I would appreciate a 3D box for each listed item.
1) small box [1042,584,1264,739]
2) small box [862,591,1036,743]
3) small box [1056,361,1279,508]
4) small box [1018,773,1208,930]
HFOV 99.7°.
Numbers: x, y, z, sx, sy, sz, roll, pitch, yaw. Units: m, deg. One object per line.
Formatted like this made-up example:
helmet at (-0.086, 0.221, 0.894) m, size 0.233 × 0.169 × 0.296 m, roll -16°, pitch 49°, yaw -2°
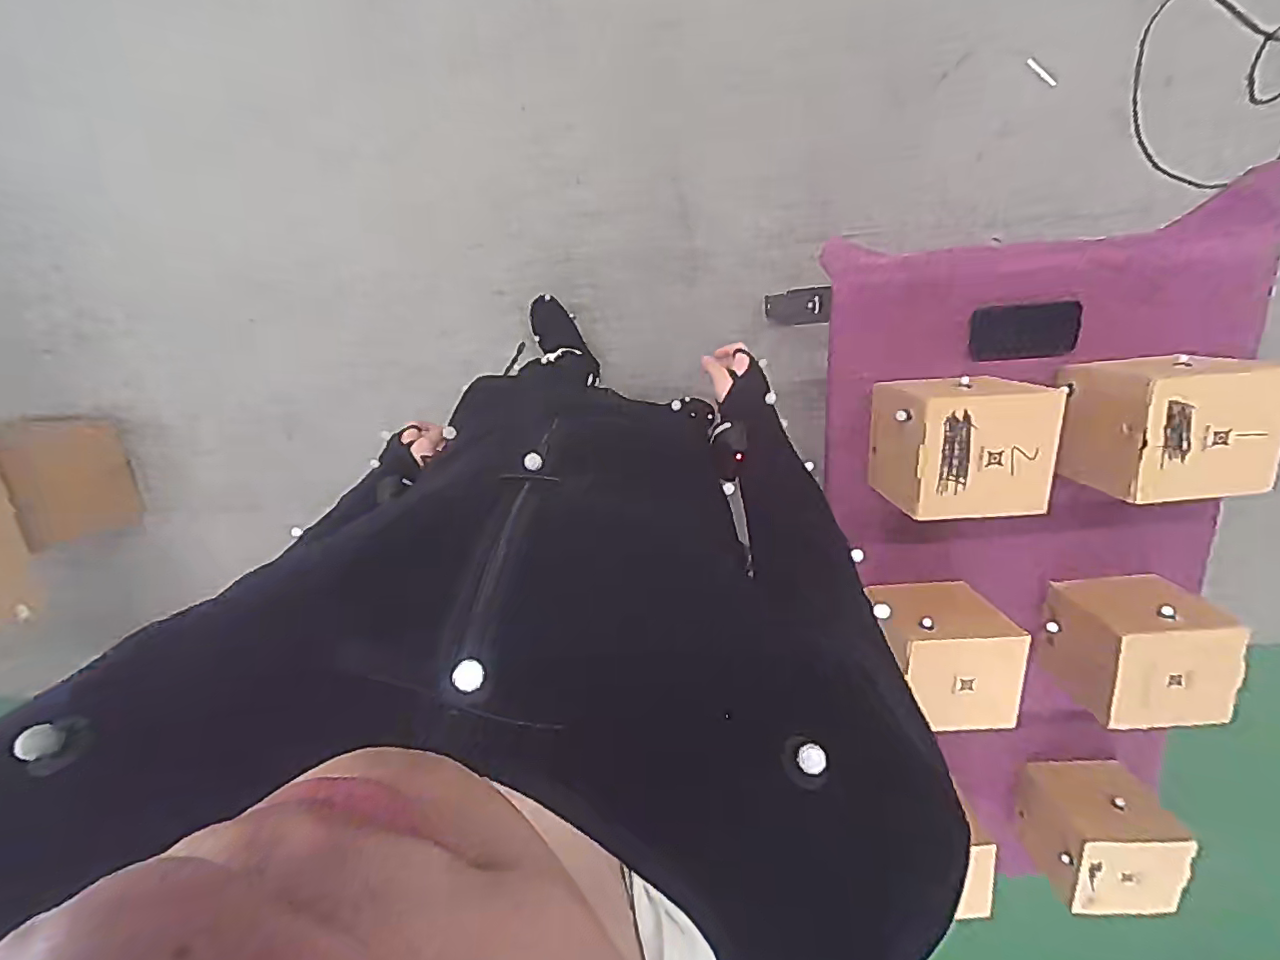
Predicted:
small box at (0.785, 0.275, 0.848) m, size 0.179 × 0.176 × 0.168 m, roll -5°, pitch 106°, yaw 4°
small box at (0.478, 0.289, 0.863) m, size 0.179 × 0.176 × 0.168 m, roll -3°, pitch 107°, yaw 2°
small box at (0.722, -0.070, 0.745) m, size 0.179 × 0.176 × 0.168 m, roll -5°, pitch 107°, yaw 3°
small box at (0.820, 0.647, 0.957) m, size 0.179 × 0.176 × 0.168 m, roll -3°, pitch 106°, yaw 3°
